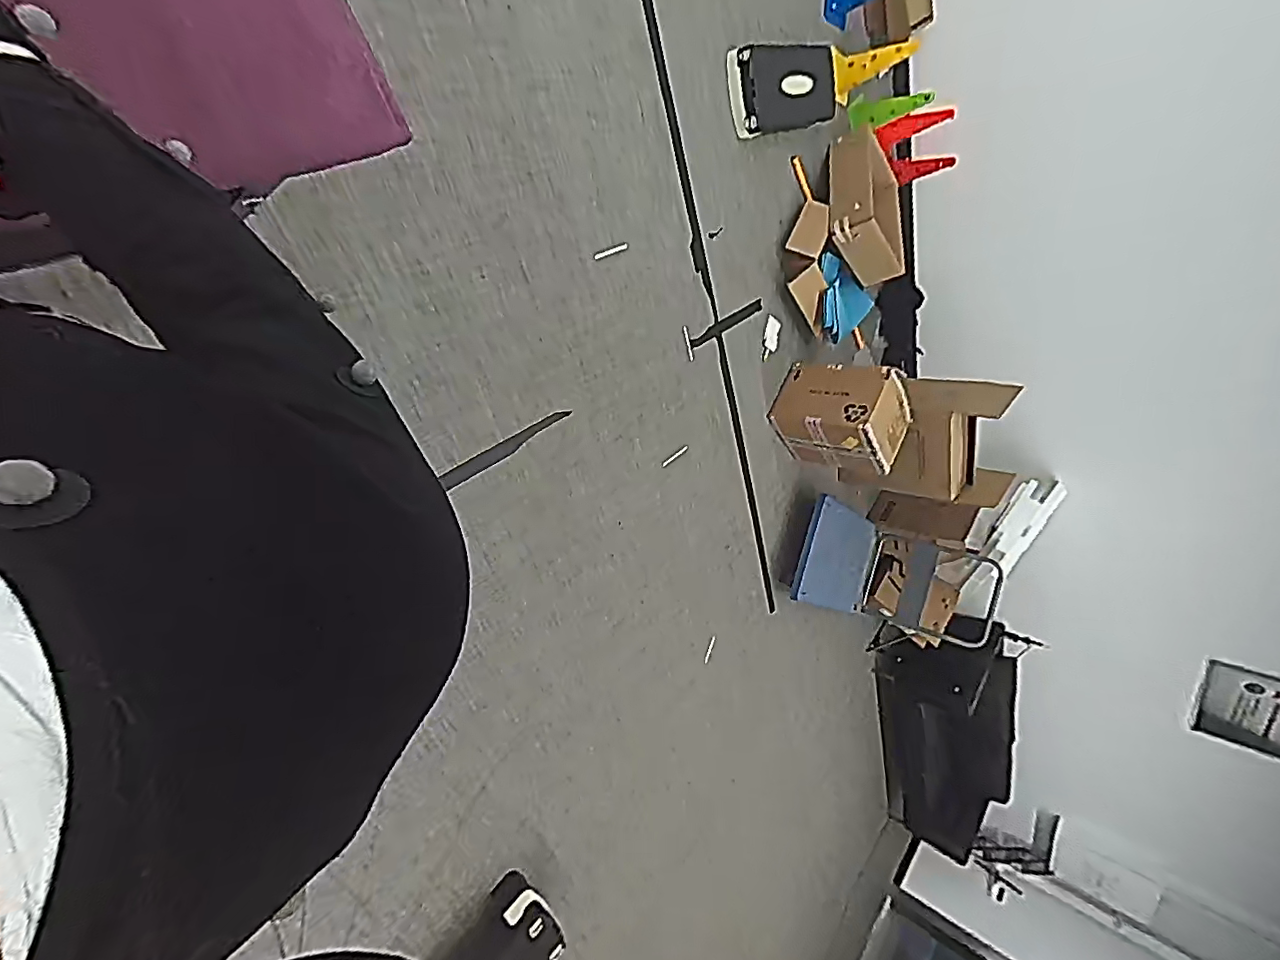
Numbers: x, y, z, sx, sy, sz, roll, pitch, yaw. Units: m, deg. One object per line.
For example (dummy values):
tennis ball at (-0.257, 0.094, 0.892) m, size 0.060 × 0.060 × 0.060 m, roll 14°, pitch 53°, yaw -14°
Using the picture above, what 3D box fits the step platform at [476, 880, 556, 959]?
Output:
step platform at (-0.586, 1.692, 1.719) m, size 0.684 × 0.204 × 0.286 m, roll -39°, pitch 125°, yaw -35°
